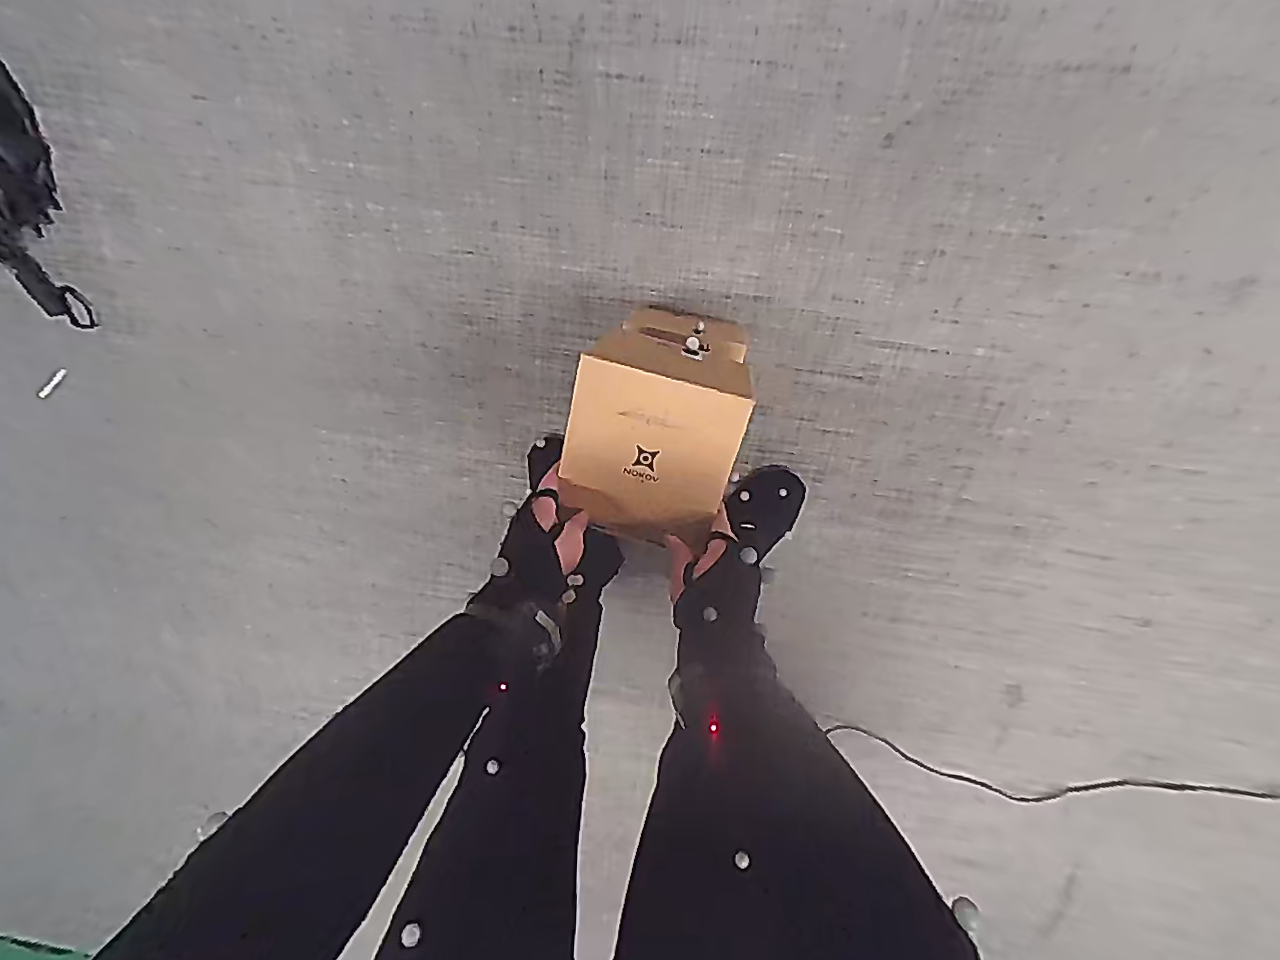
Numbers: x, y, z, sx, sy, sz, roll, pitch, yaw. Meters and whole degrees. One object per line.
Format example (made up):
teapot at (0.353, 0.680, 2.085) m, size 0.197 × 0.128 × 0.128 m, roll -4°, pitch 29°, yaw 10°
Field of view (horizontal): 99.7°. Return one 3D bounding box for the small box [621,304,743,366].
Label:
small box at (0.054, -0.151, 0.808) m, size 0.168 × 0.176 × 0.179 m, roll 12°, pitch 116°, yaw 3°

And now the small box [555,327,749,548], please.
small box at (0.017, -0.057, 0.606) m, size 0.168 × 0.176 × 0.179 m, roll 15°, pitch 115°, yaw 2°
